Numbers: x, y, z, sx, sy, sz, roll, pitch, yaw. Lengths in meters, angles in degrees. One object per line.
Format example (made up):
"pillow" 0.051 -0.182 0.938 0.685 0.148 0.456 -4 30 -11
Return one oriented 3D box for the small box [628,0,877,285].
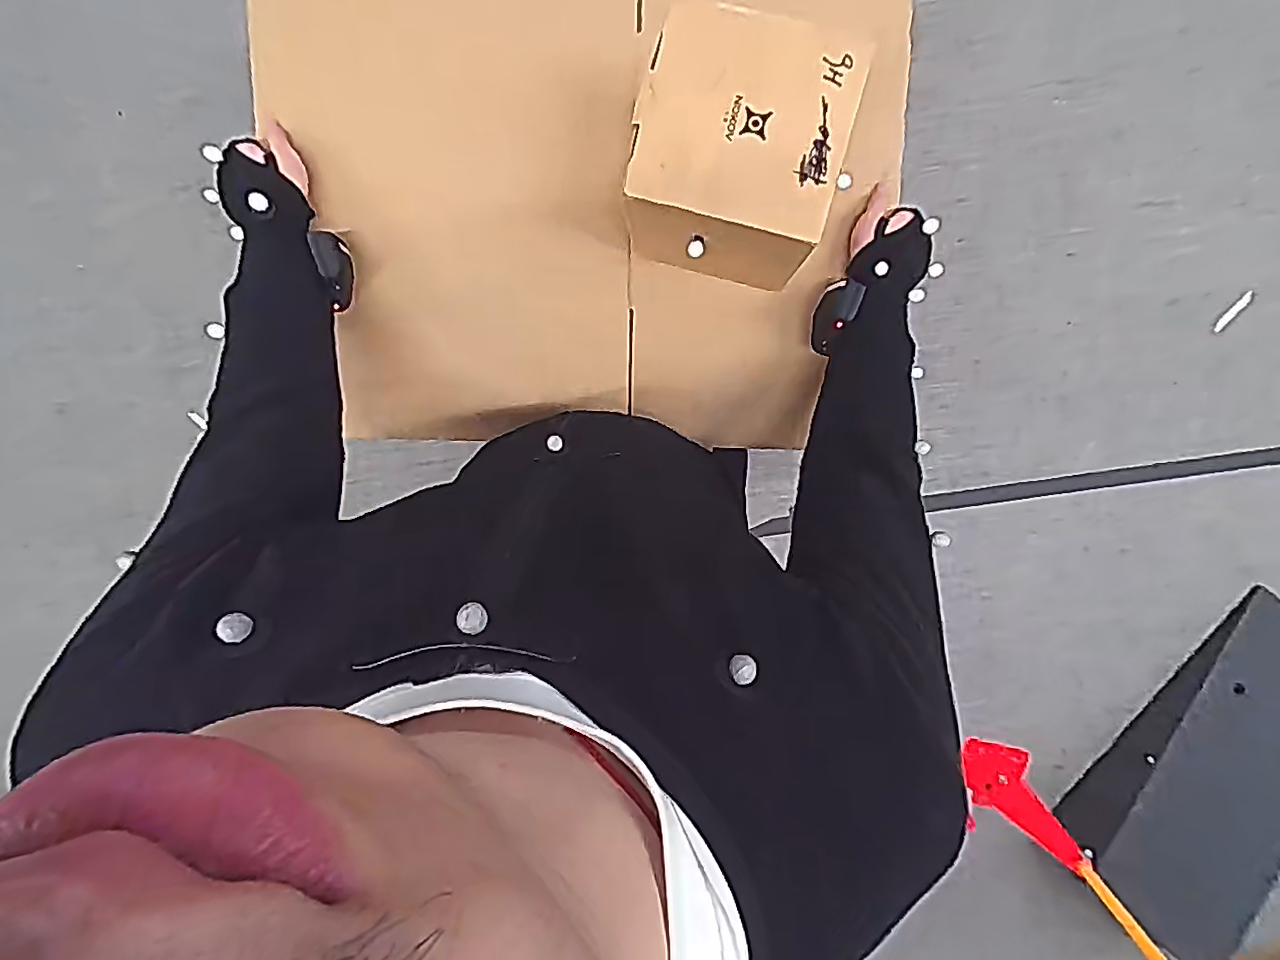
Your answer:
"small box" 0.099 -0.311 0.537 0.179 0.176 0.168 15 96 3
